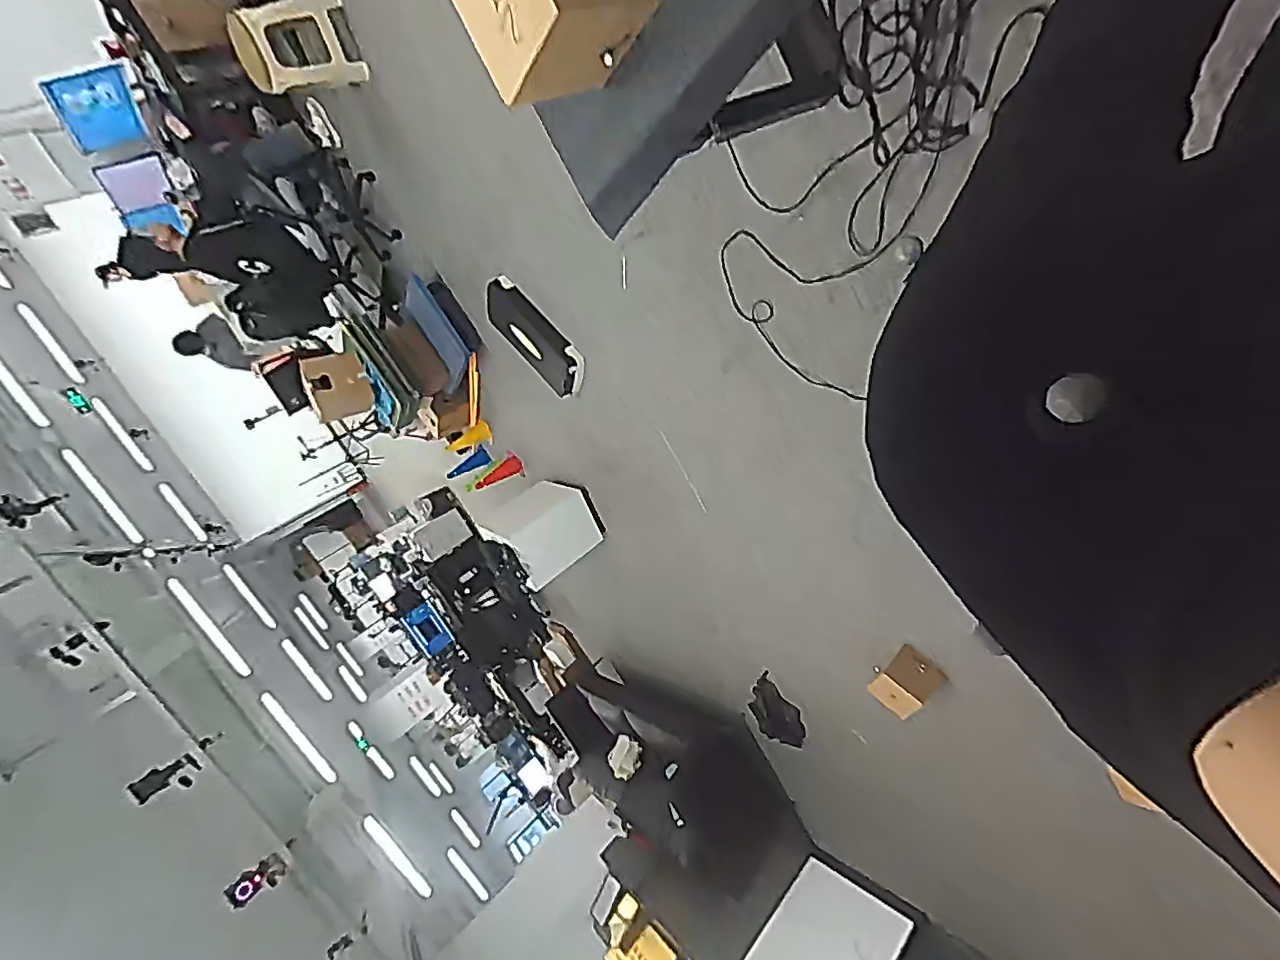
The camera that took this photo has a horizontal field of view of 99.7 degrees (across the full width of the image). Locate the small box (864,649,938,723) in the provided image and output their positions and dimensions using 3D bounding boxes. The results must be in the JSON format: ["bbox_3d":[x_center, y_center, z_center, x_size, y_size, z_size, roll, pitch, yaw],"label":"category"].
[{"bbox_3d":[0.988,0.775,2.040,0.168,0.176,0.179,38,147,25],"label":"small box"}]

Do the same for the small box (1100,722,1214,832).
[{"bbox_3d":[1.386,0.780,1.444,0.168,0.176,0.179,59,152,-10],"label":"small box"}]
